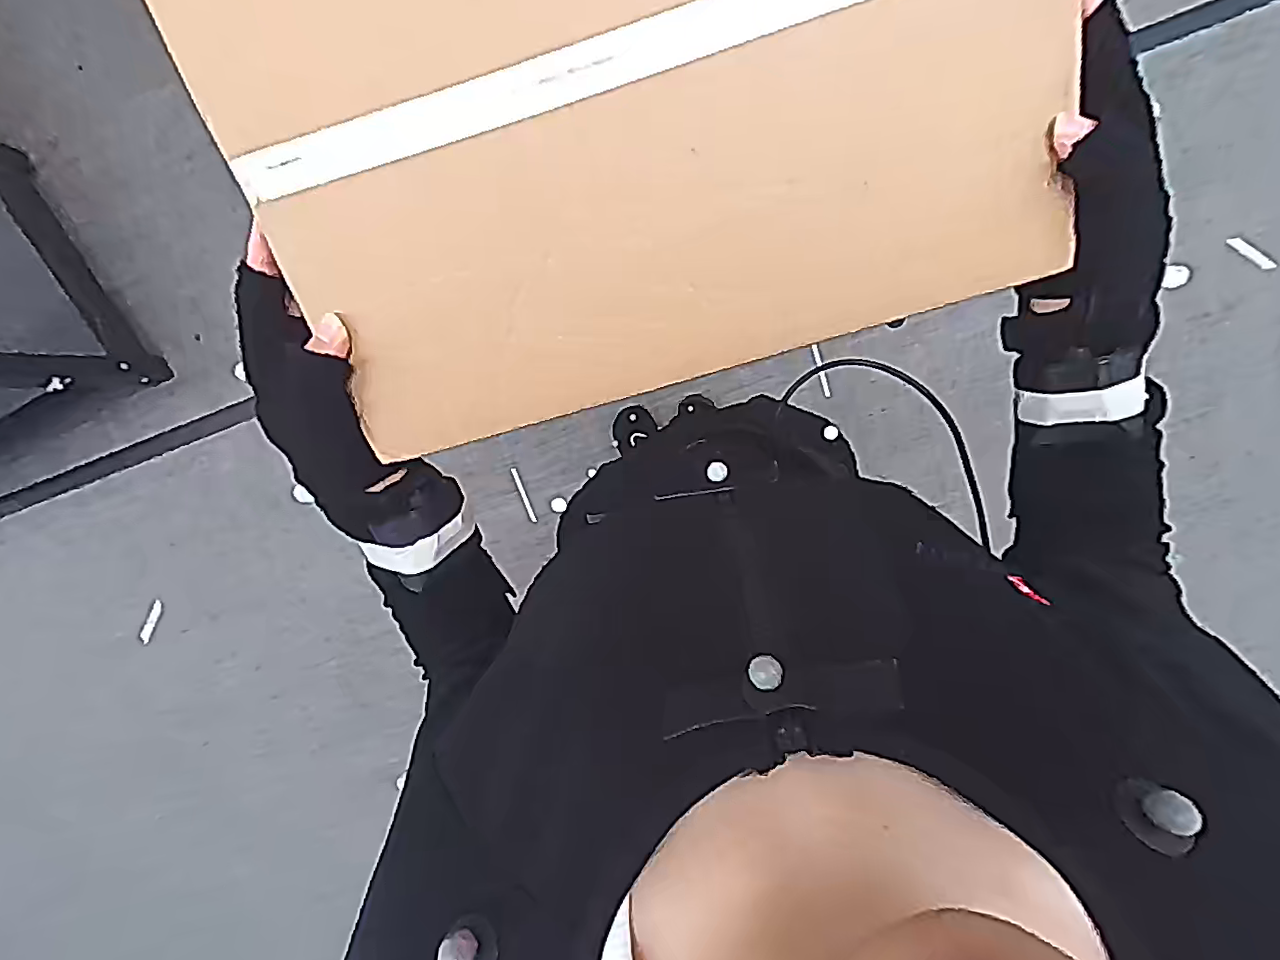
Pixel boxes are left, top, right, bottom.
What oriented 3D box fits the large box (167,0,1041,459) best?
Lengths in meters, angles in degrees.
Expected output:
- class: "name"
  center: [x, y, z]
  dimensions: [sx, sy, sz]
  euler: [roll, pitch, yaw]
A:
- class: "large box"
  center: [-0.008, -0.258, 0.401]
  dimensions: [0.408, 0.320, 0.320]
  euler: [-15, 111, 4]
